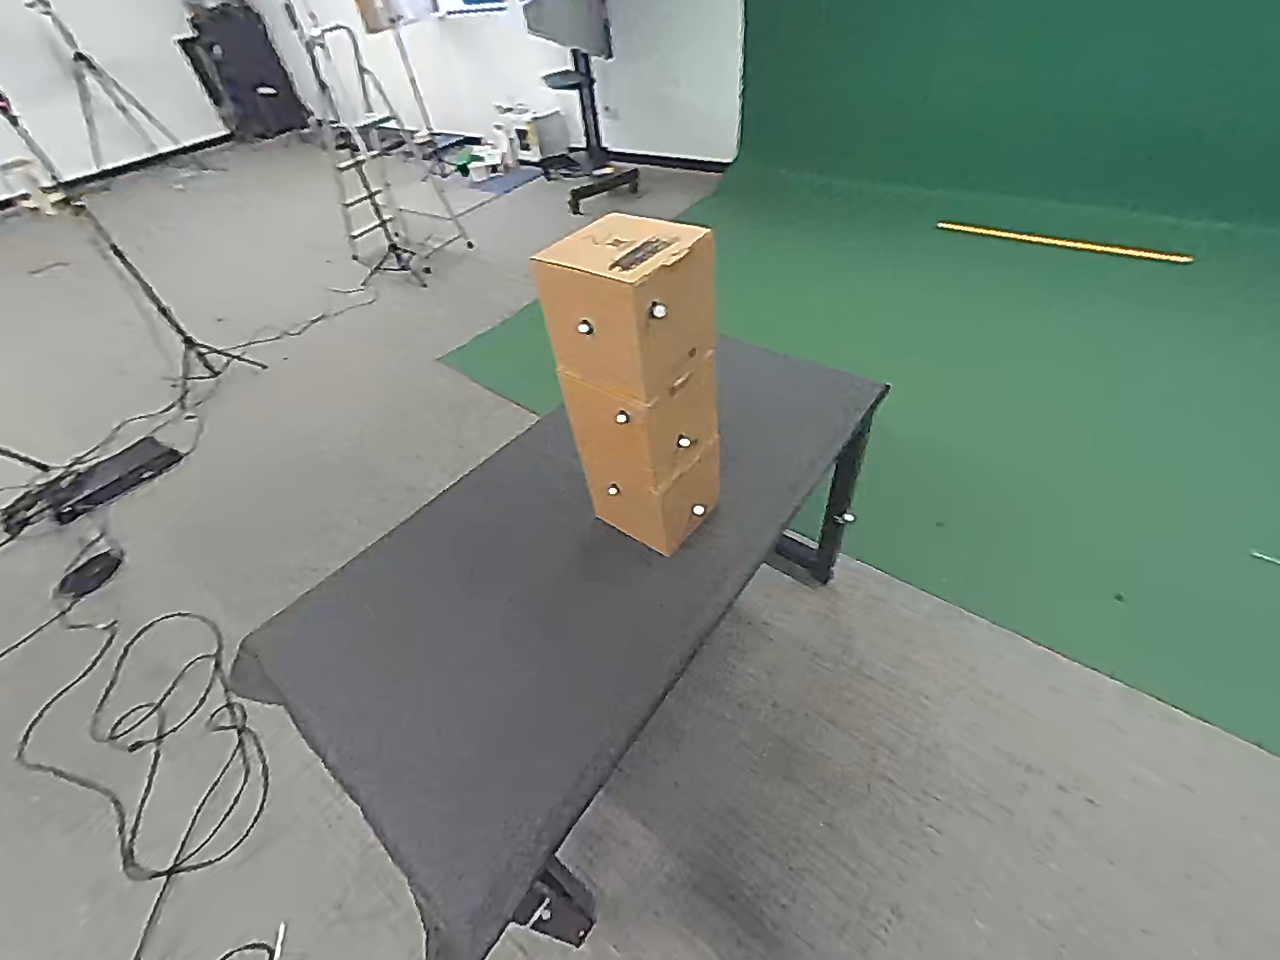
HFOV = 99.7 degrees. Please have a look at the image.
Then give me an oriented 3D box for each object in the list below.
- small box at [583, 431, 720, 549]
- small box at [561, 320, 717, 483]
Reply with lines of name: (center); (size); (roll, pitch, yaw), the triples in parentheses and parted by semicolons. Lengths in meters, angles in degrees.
small box: (0.026, -0.007, 0.962); (0.179, 0.176, 0.168); (28, 56, 30)
small box: (0.005, -0.122, 0.851); (0.179, 0.176, 0.168); (28, 55, 30)
